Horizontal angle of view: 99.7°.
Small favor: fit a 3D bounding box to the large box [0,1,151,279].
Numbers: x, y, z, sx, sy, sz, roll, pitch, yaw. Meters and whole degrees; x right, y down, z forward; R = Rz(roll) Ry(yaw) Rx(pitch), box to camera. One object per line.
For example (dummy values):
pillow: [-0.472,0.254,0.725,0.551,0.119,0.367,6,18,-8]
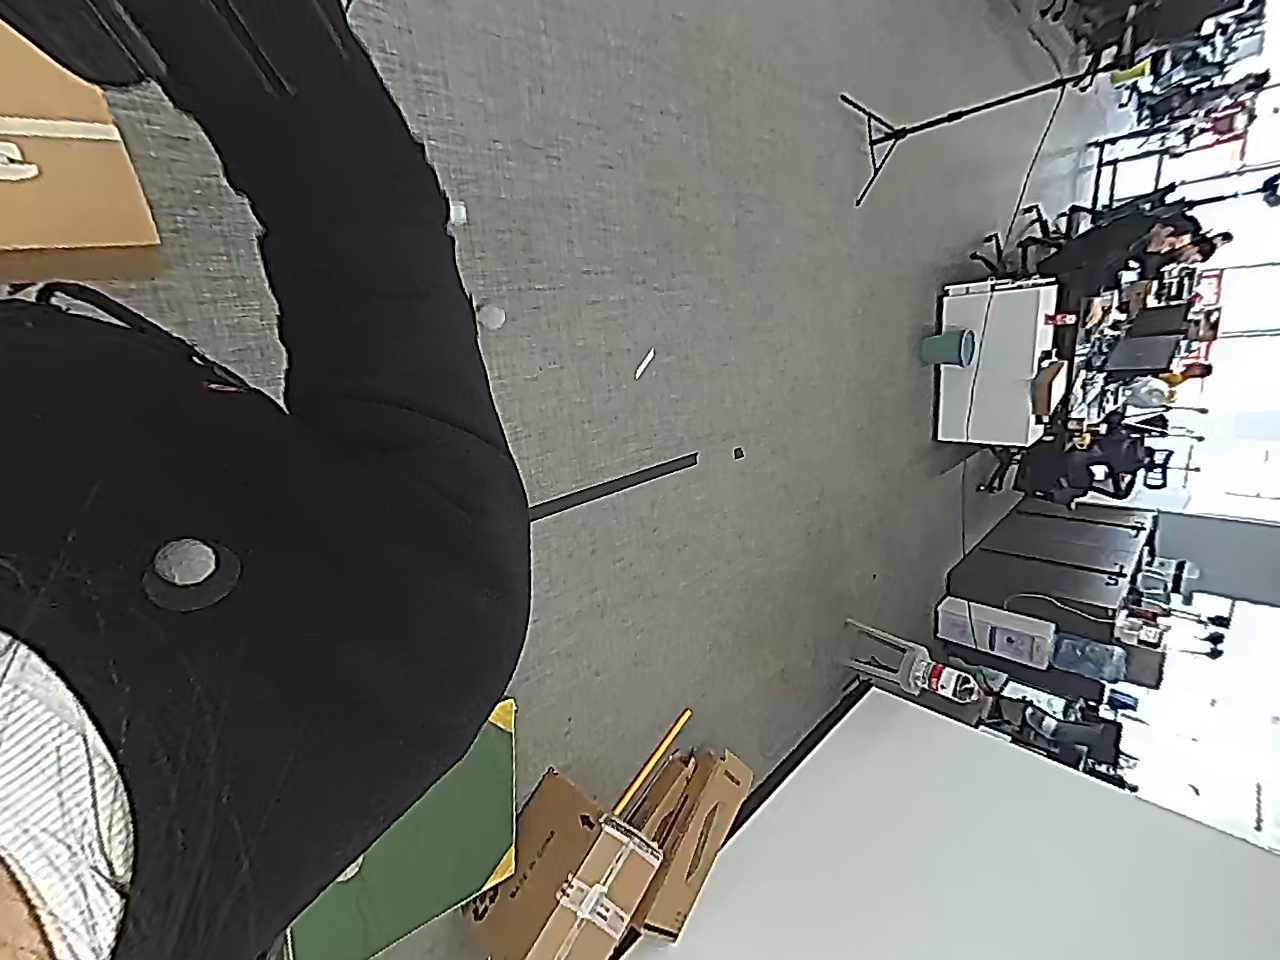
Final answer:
large box: [-1.049,-0.484,0.807,0.408,0.320,0.320,-23,113,-39]
